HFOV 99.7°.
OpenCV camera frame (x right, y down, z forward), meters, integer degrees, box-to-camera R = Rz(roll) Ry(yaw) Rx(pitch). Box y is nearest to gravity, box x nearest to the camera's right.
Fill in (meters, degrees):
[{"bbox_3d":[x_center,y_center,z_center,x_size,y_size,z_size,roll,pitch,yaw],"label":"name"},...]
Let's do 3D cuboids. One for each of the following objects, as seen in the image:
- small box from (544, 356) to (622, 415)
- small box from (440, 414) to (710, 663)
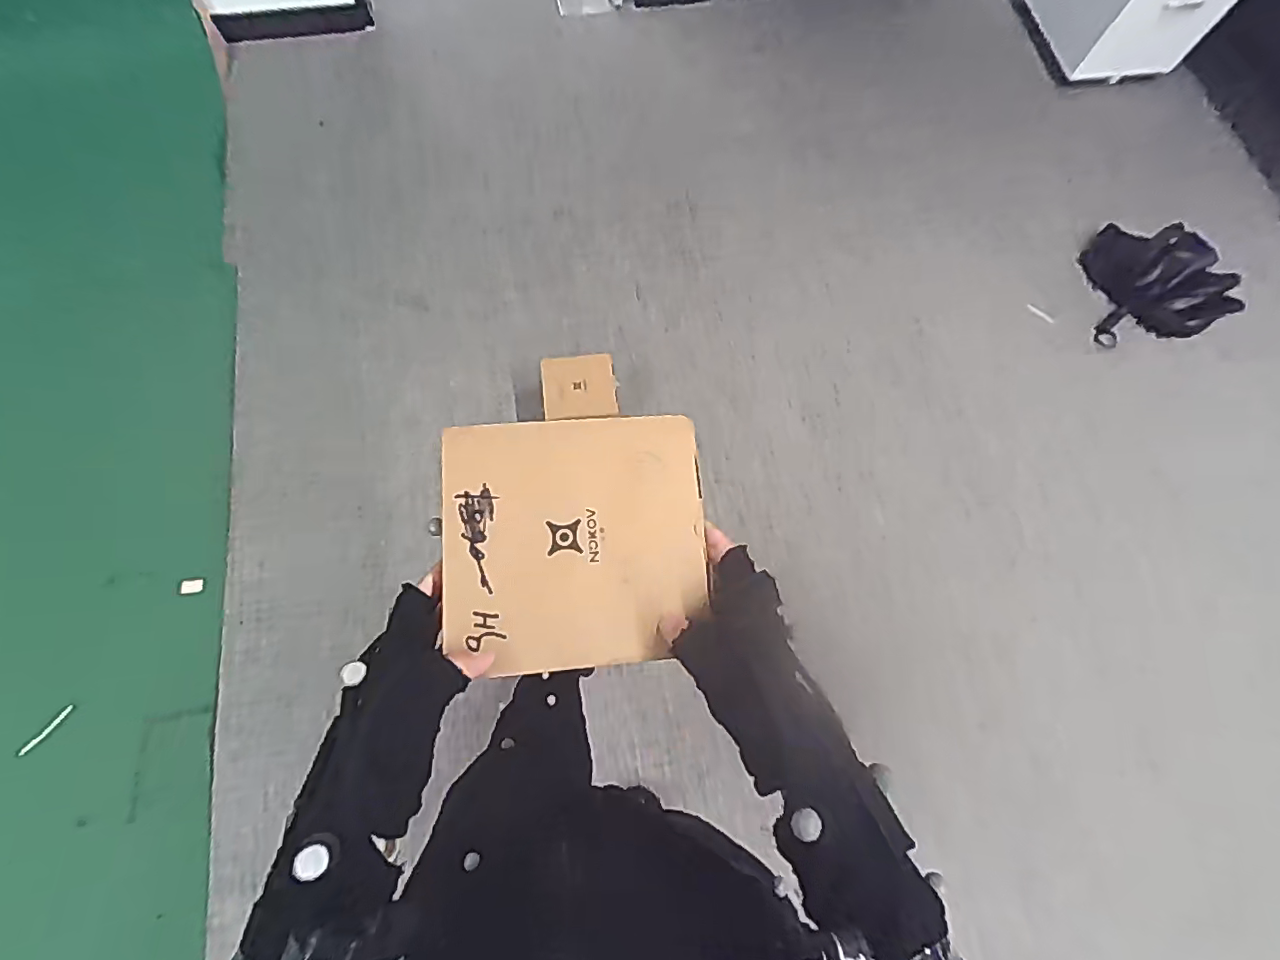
[{"bbox_3d":[-0.141,-0.195,1.376,0.179,0.176,0.168,-7,71,-3],"label":"small box"},{"bbox_3d":[-0.053,0.052,0.442,0.179,0.176,0.168,-3,76,-7],"label":"small box"}]
